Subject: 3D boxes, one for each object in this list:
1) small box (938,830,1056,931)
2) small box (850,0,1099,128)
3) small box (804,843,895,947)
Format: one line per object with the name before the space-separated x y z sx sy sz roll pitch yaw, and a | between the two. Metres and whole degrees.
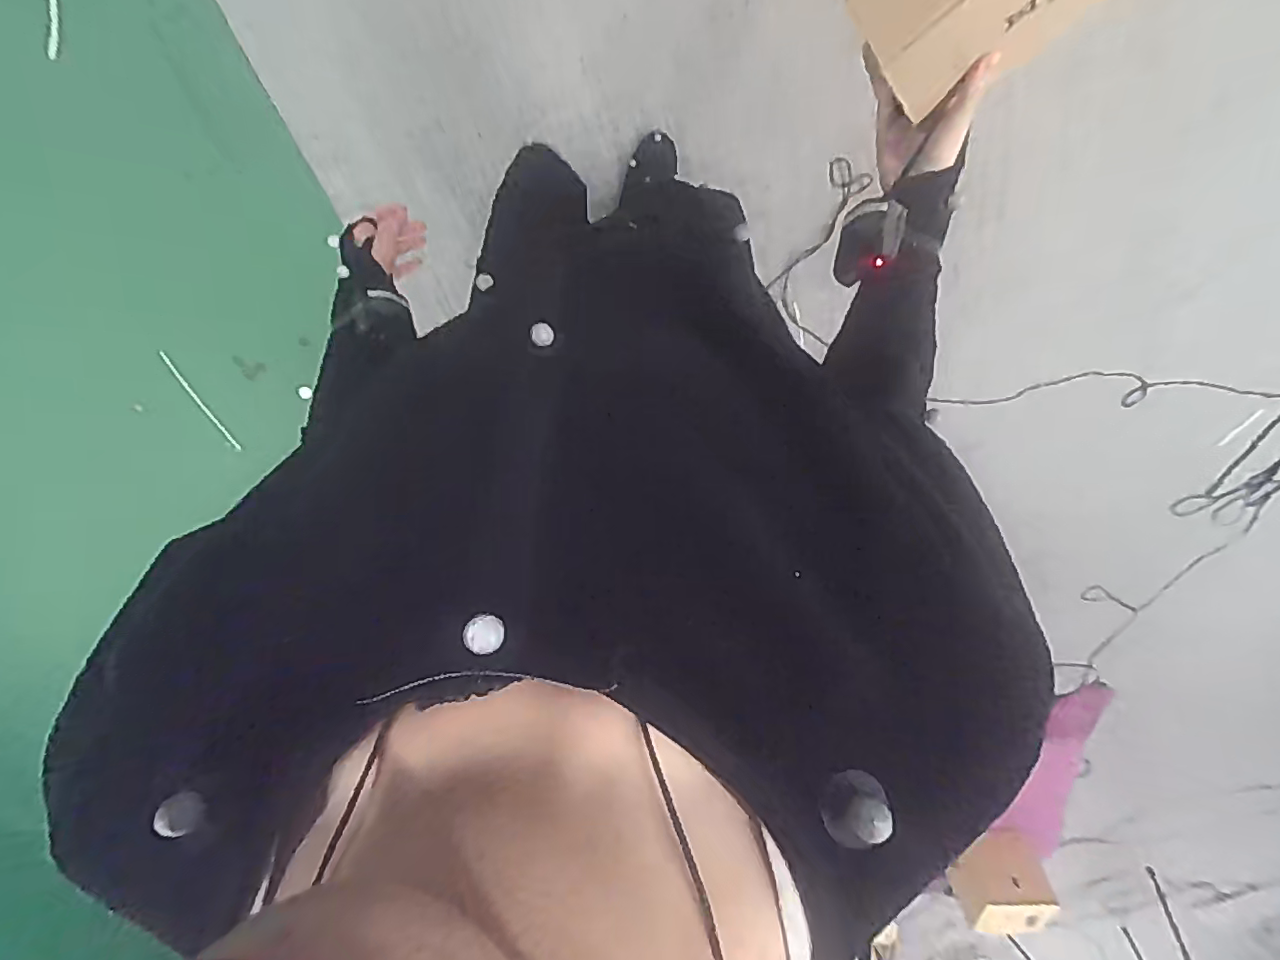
small box | 0.921 1.043 1.413 0.179 0.176 0.168 -3 121 2
small box | 0.232 -0.398 0.368 0.179 0.168 0.176 -28 87 37
small box | 0.558 1.107 1.450 0.179 0.176 0.168 -15 120 8
